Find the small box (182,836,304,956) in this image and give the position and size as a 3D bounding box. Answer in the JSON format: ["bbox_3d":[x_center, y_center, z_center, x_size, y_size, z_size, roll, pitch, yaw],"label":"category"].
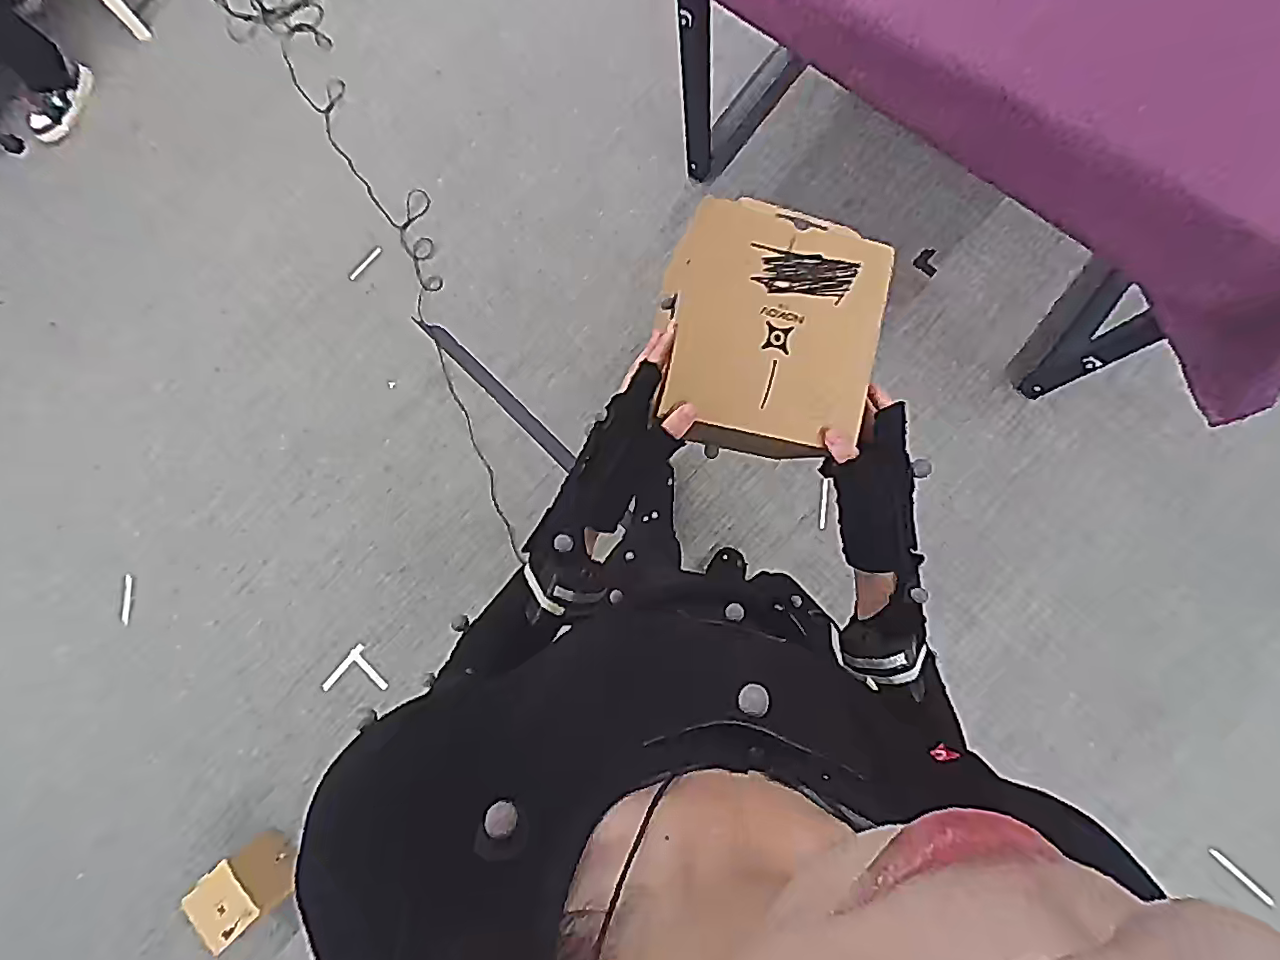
[{"bbox_3d":[-1.083,1.125,1.487,0.168,0.176,0.179,-44,79,0],"label":"small box"}]

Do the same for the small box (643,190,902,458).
[{"bbox_3d":[0.106,-0.123,0.503,0.168,0.176,0.179,12,89,-8],"label":"small box"}]
